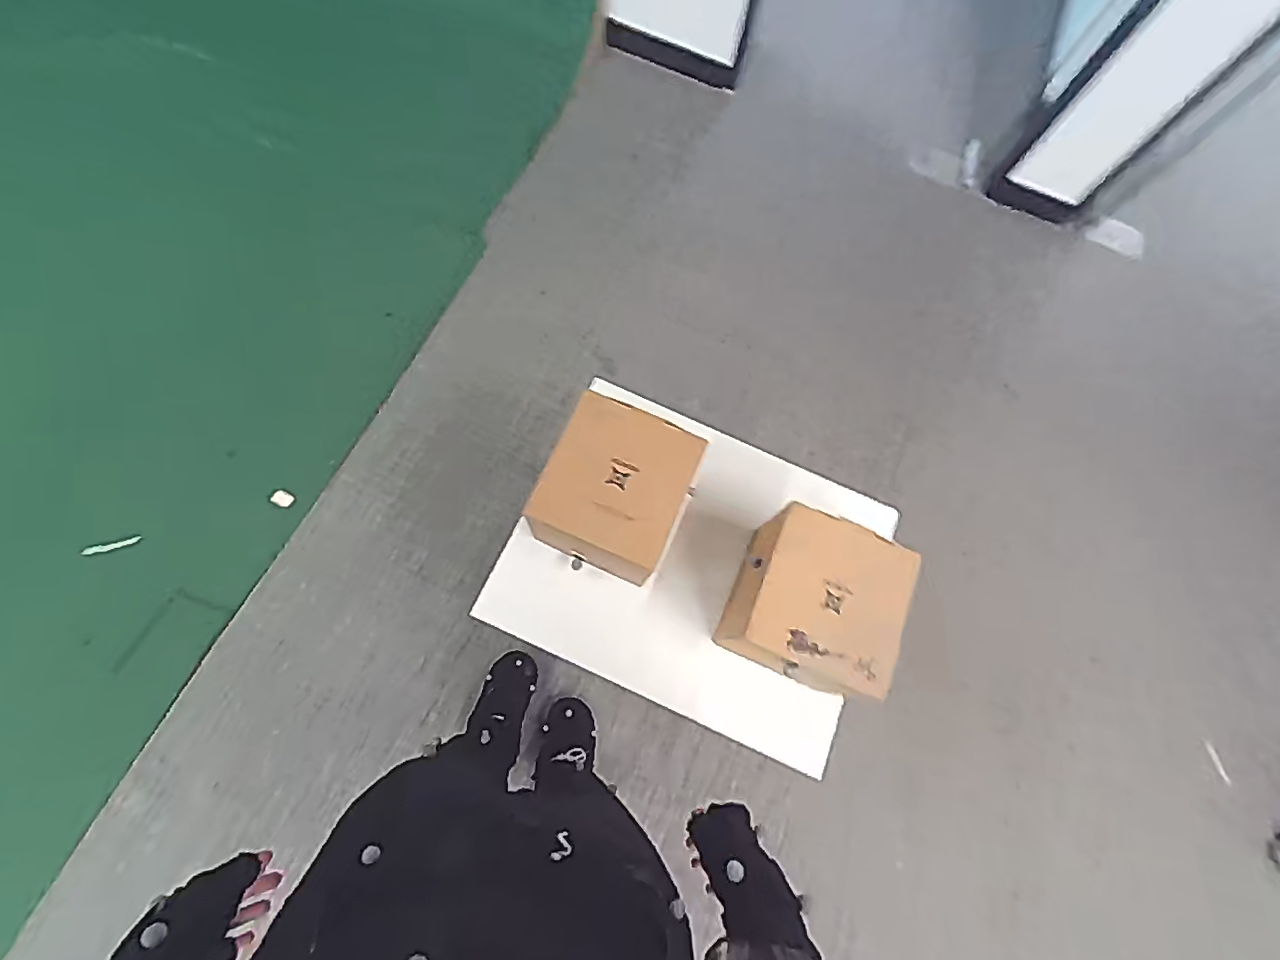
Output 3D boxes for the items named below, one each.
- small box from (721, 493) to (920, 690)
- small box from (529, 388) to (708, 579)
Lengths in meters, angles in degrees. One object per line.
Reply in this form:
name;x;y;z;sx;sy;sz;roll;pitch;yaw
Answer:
small box;0.216;0.145;0.685;0.168;0.176;0.179;23;72;4
small box;-0.028;0.014;0.708;0.168;0.176;0.179;21;74;3
